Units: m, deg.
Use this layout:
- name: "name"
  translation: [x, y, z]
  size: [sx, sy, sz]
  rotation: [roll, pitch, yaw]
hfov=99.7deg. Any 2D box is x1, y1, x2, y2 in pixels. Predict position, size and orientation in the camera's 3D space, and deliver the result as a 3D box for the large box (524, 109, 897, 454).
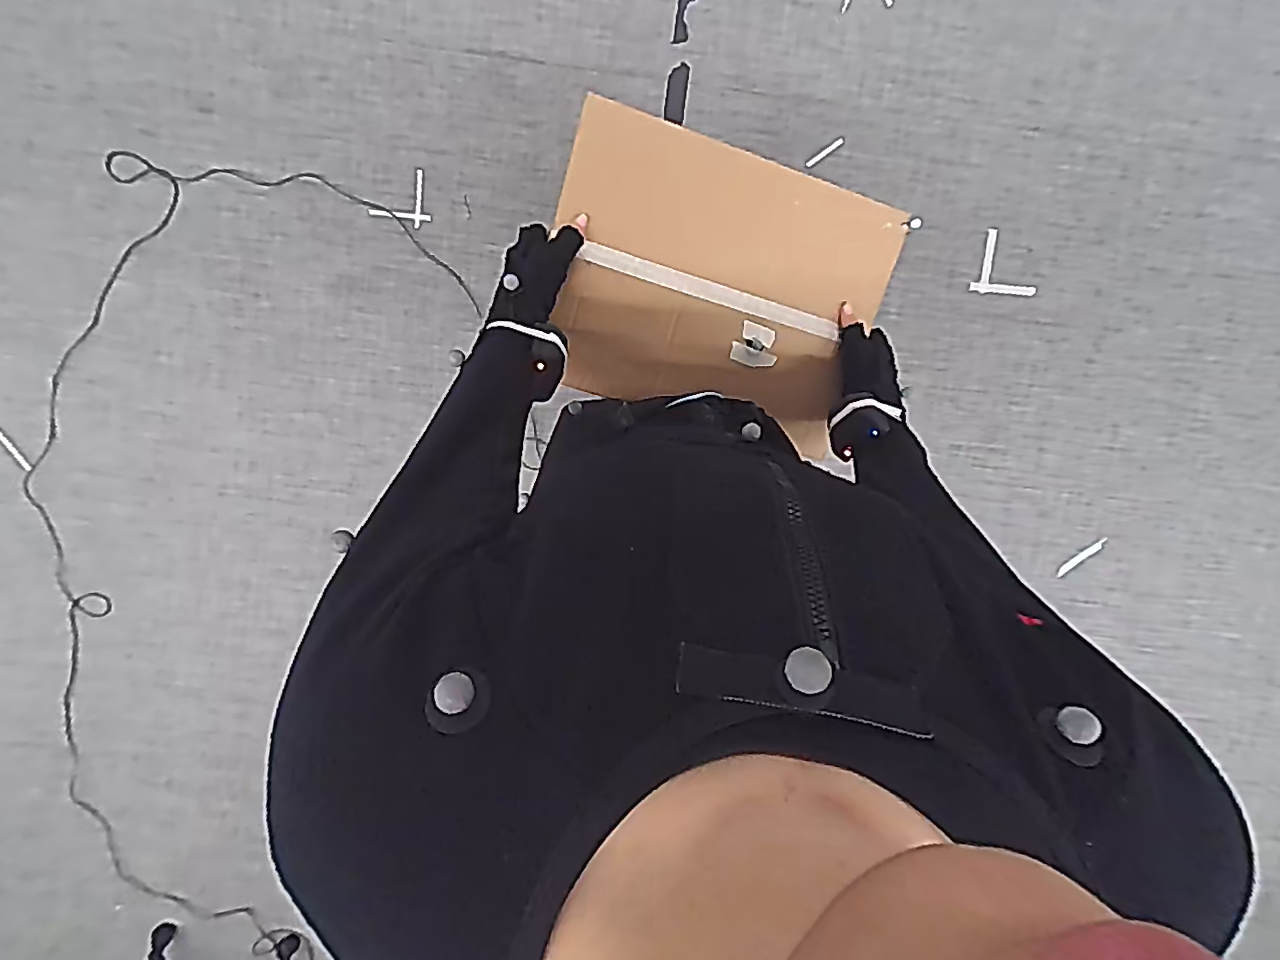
- name: "large box"
  translation: [0.070, -0.258, 0.804]
  size: [0.408, 0.320, 0.320]
  rotation: [15, 102, -9]
